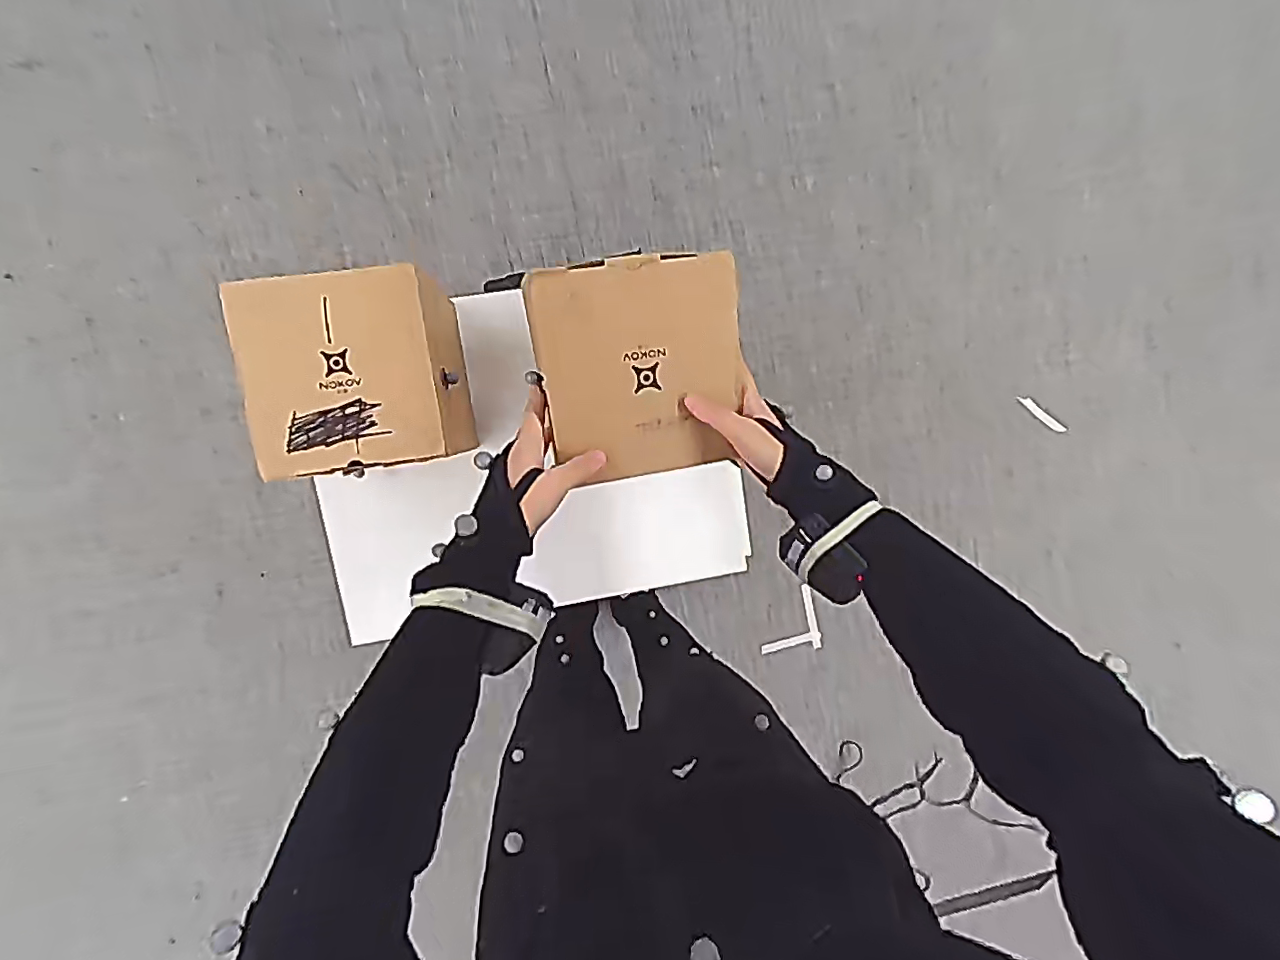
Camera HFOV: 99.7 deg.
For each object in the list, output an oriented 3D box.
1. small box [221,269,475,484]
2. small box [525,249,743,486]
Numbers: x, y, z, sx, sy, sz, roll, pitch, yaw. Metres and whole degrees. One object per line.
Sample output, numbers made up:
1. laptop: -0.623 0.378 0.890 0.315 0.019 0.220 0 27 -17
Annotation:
1. small box: -0.277 -0.100 0.558 0.168 0.176 0.179 -8 96 -6
2. small box: -0.014 -0.111 0.519 0.168 0.176 0.179 -11 109 -10
